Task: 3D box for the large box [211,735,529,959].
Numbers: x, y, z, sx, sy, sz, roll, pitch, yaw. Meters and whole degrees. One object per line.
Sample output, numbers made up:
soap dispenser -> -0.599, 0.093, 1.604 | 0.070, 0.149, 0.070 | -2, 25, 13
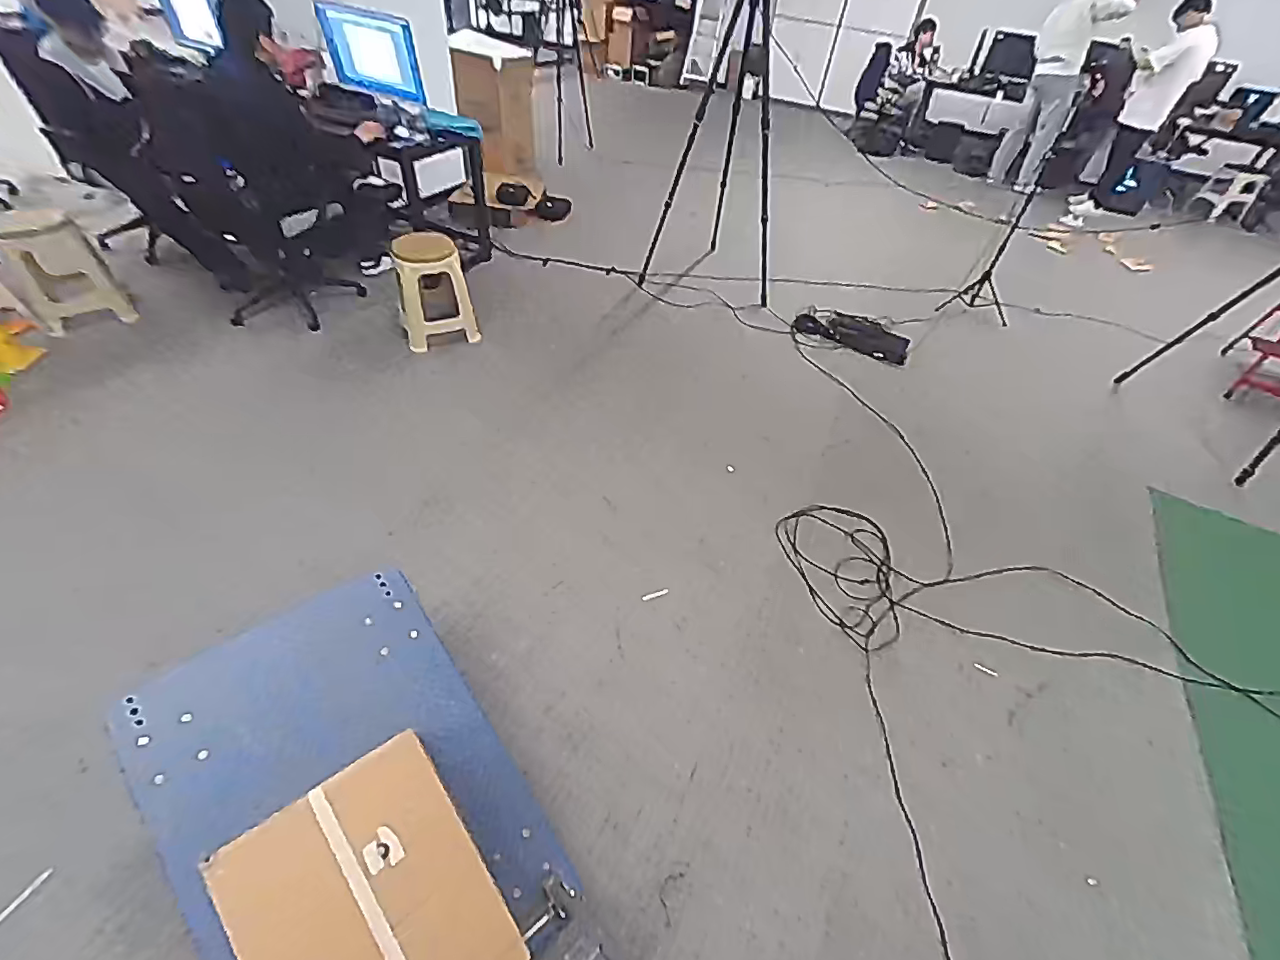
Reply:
large box -> -0.444, 0.726, 0.948 | 0.320, 0.320, 0.408 | -28, 75, -30
